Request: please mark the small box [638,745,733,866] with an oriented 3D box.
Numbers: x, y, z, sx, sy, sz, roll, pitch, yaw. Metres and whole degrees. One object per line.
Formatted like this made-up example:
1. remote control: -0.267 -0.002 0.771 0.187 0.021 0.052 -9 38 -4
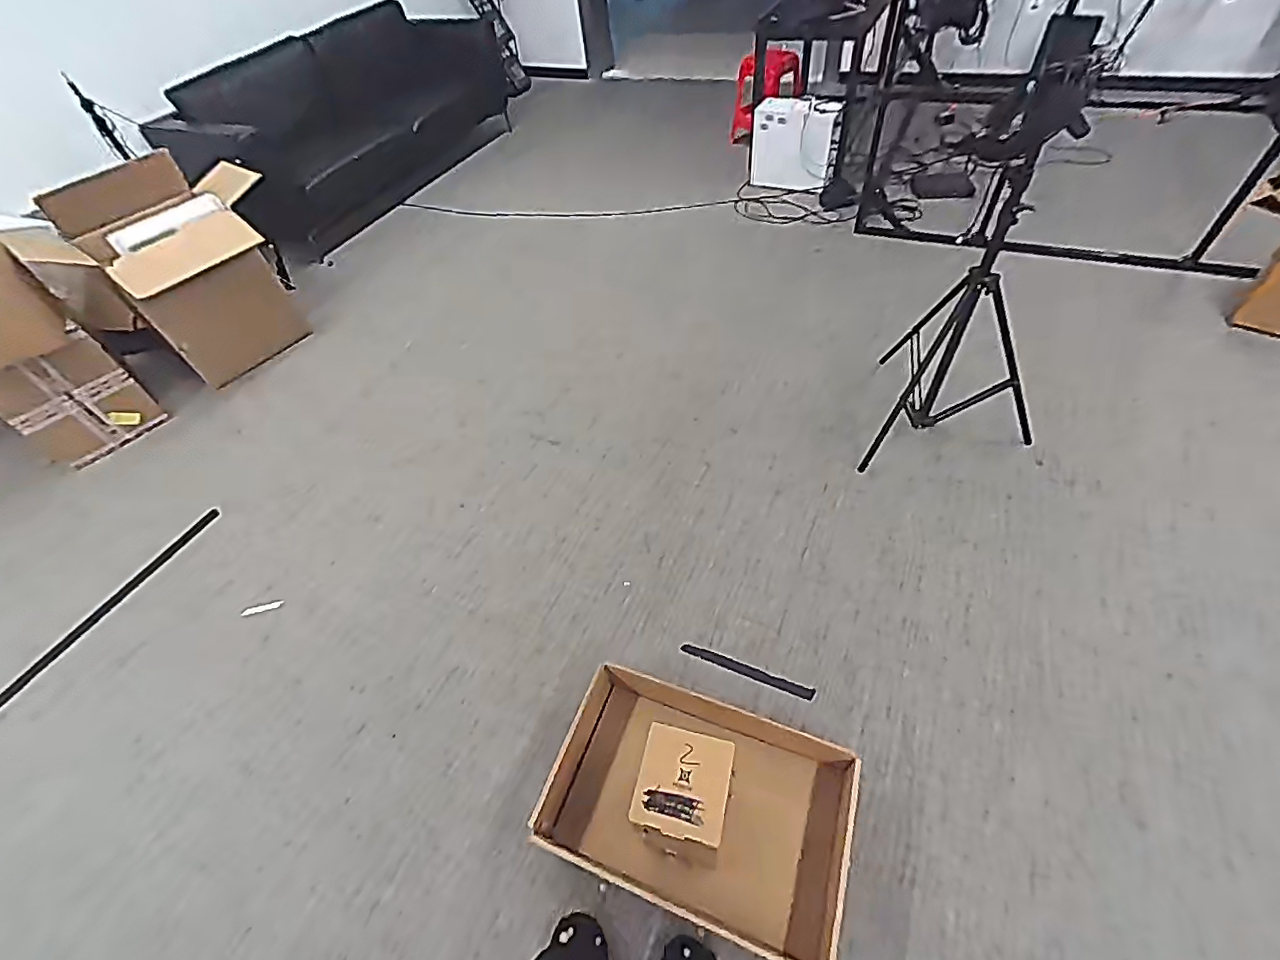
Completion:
1. small box: 0.103 0.708 1.173 0.168 0.176 0.179 9 53 15
